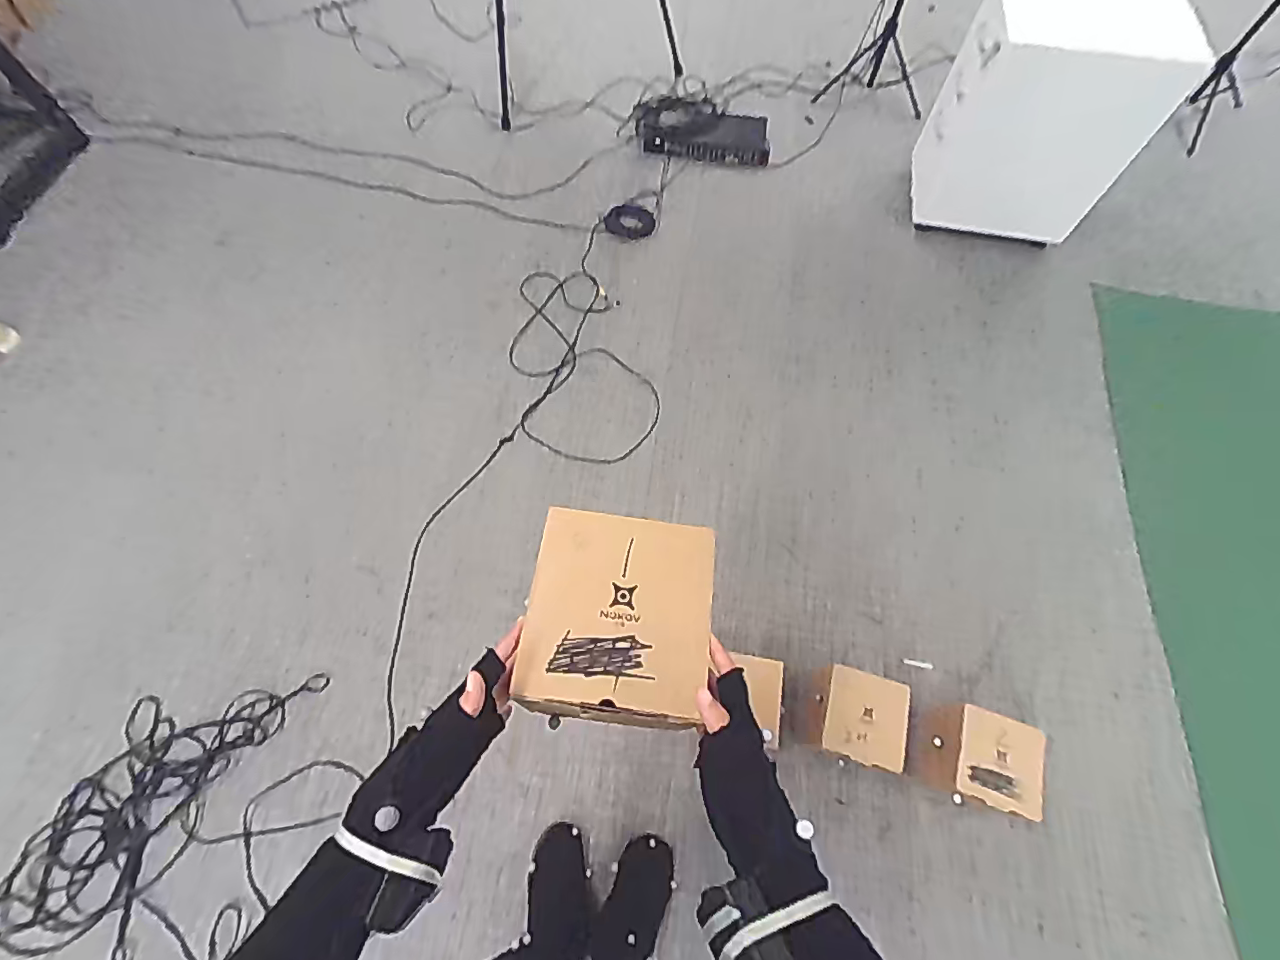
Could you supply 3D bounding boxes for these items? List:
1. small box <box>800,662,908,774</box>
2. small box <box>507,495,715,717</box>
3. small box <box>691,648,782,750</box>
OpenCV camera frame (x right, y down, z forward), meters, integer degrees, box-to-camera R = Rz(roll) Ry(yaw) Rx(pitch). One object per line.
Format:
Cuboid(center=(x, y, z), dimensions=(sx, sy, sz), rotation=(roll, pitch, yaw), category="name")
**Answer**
Cuboid(center=(0.465, 0.523, 1.193), dimensions=(0.168, 0.176, 0.179), rotation=(16, 66, 8), category="small box")
Cuboid(center=(-0.024, 0.137, 0.552), dimensions=(0.168, 0.176, 0.179), rotation=(8, 62, -1), category="small box")
Cuboid(center=(0.210, 0.491, 1.208), dimensions=(0.168, 0.176, 0.179), rotation=(9, 65, 4), category="small box")
